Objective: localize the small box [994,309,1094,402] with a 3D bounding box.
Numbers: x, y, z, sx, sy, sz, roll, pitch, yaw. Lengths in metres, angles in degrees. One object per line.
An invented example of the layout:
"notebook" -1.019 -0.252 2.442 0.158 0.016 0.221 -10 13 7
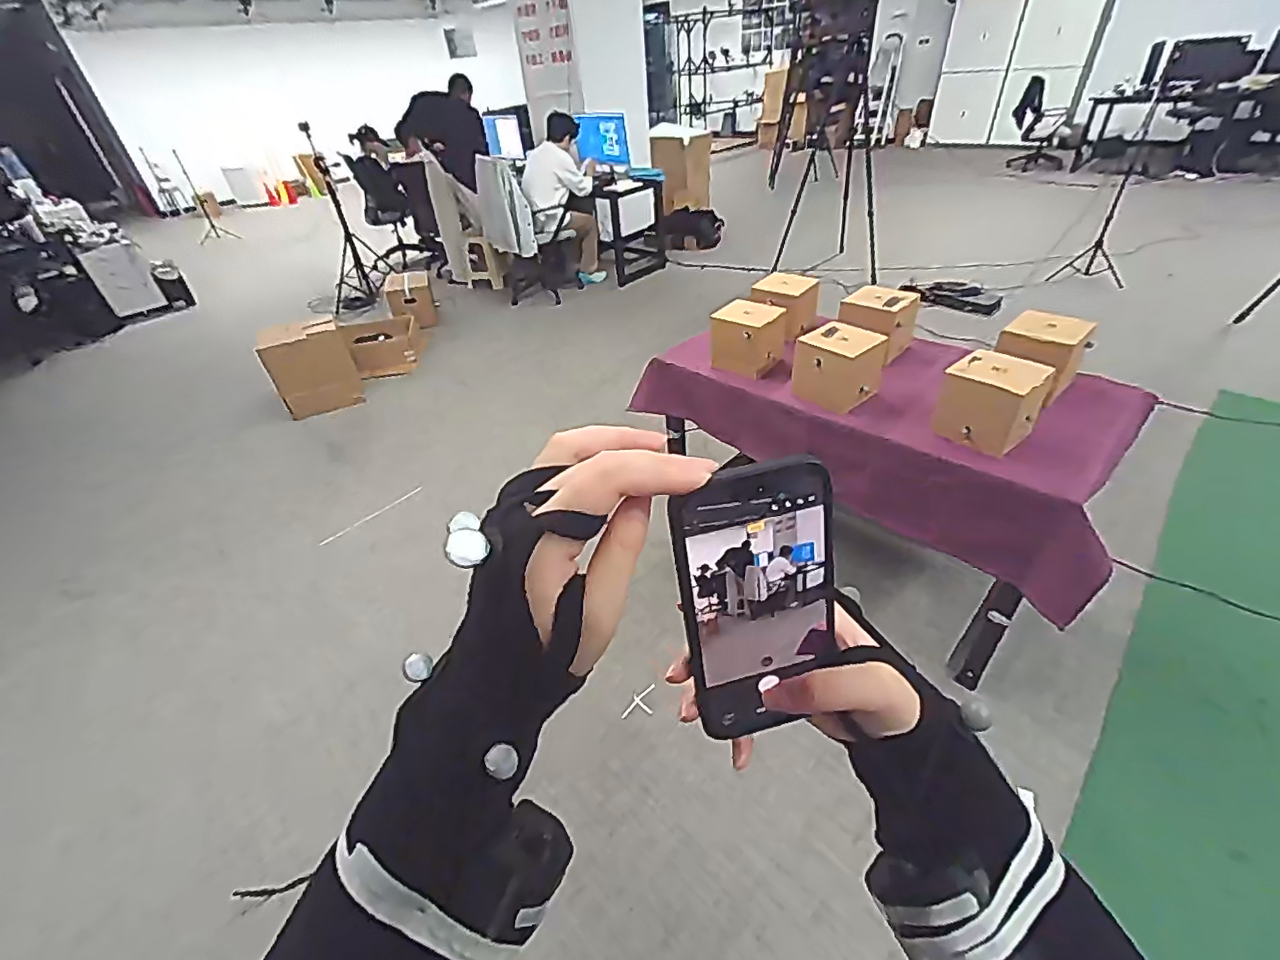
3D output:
"small box" 1.060 -0.335 1.449 0.179 0.176 0.168 -32 45 -29

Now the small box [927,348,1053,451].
"small box" 0.829 -0.189 1.294 0.168 0.176 0.179 -28 44 -27

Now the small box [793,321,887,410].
"small box" 0.543 -0.317 1.493 0.168 0.176 0.179 -30 45 -28

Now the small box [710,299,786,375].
"small box" 0.331 -0.445 1.685 0.179 0.176 0.168 24 47 31
